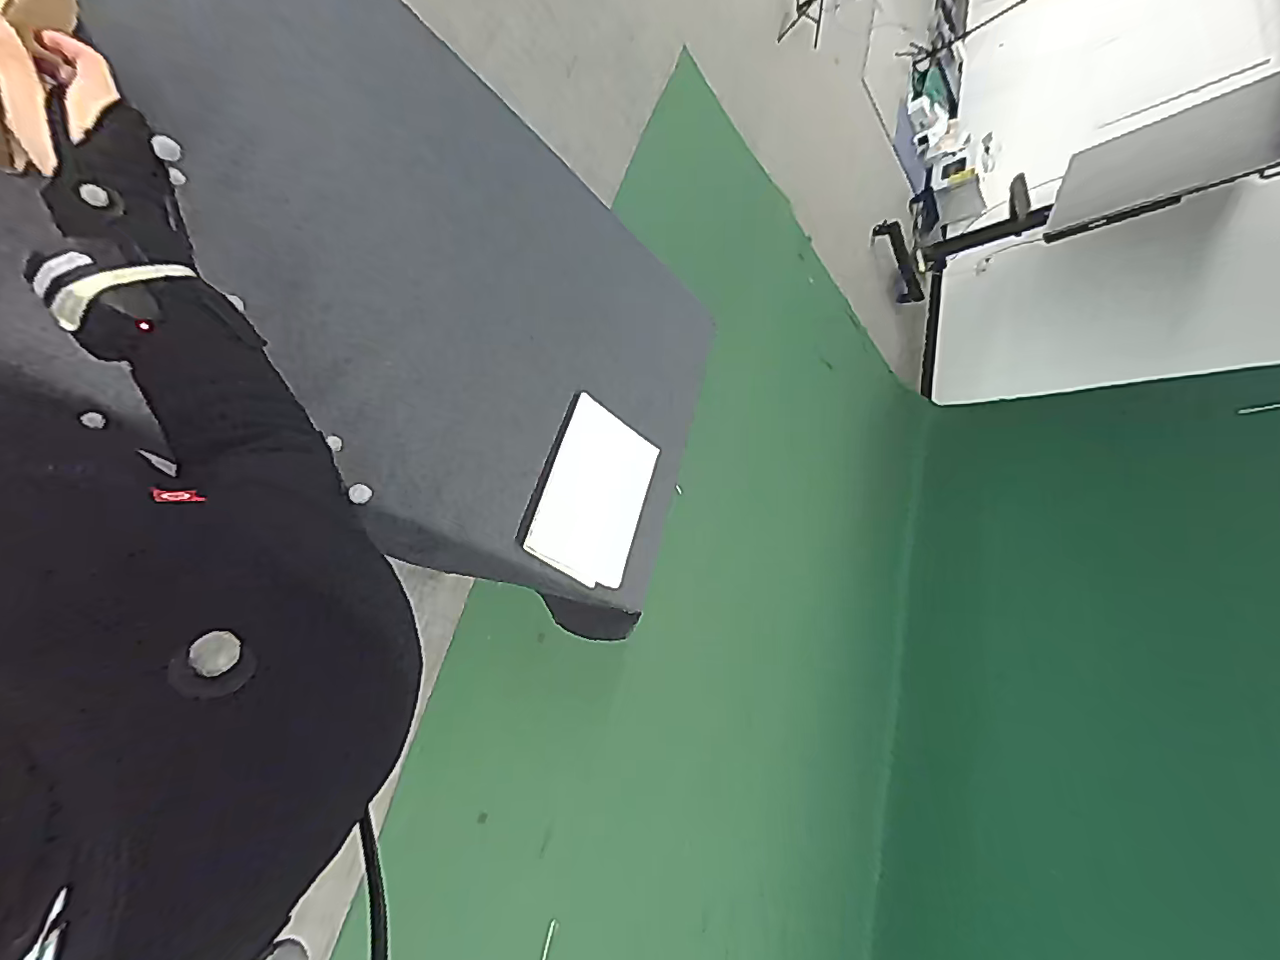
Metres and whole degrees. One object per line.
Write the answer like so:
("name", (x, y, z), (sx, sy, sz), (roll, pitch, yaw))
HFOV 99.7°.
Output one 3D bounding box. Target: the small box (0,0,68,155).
("small box", (-0.512, -0.356, 0.345), (0.179, 0.176, 0.168), (17, 74, -45))
